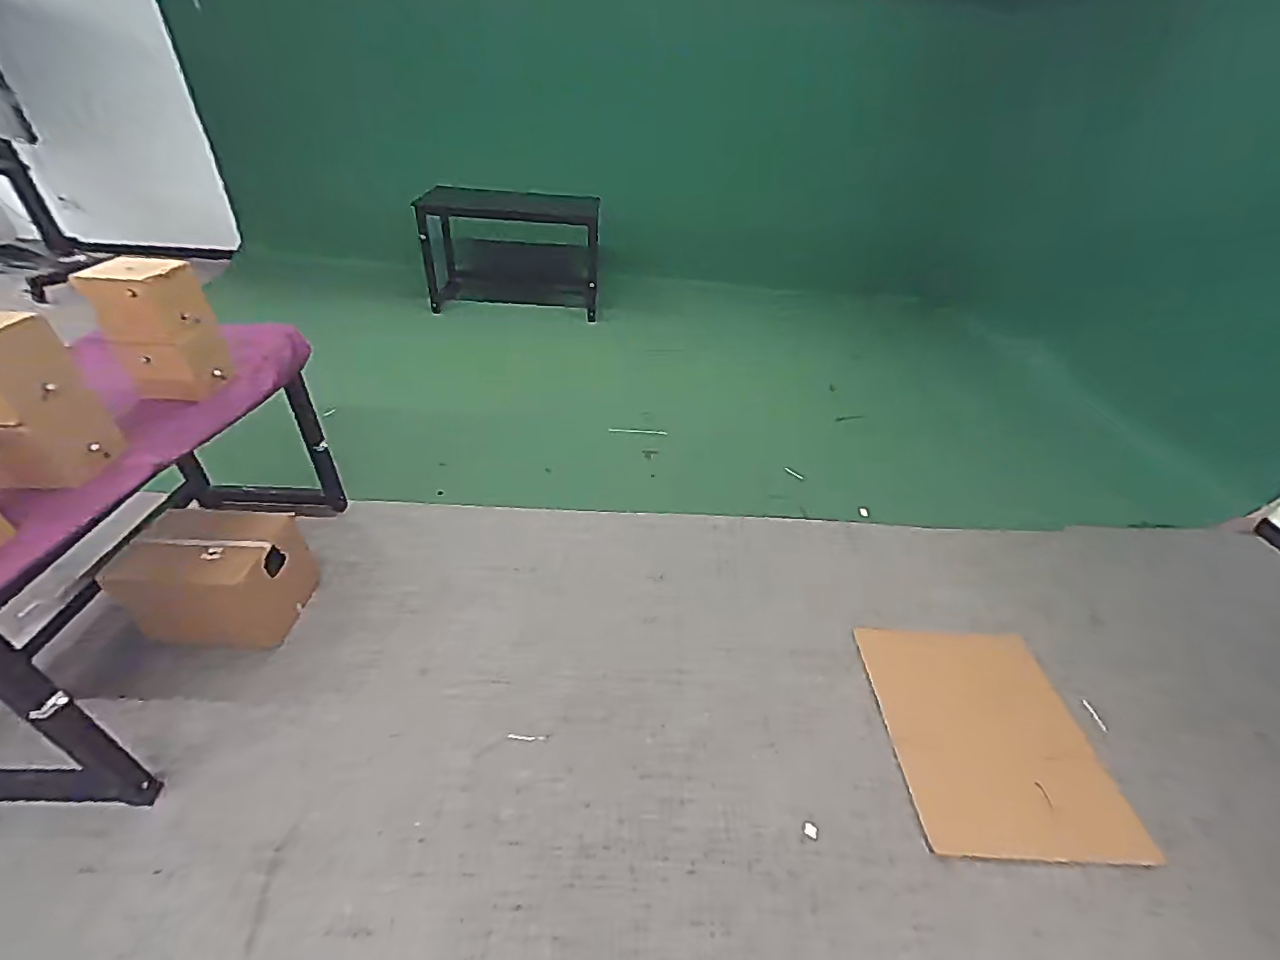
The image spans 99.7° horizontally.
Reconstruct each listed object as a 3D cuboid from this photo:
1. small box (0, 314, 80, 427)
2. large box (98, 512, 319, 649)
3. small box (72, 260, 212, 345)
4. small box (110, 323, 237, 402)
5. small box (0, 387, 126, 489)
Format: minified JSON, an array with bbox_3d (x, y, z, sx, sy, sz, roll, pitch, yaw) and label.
[{"bbox_3d":[-1.294,-0.222,1.078,0.168,0.176,0.179,0,37,-3],"label":"small box"},{"bbox_3d":[-1.339,0.321,1.730,0.408,0.320,0.320,3,38,-3],"label":"large box"},{"bbox_3d":[-1.270,-0.458,1.397,0.179,0.176,0.168,3,37,-3],"label":"small box"},{"bbox_3d":[-1.275,-0.328,1.494,0.179,0.176,0.168,3,37,-2],"label":"small box"},{"bbox_3d":[-1.304,-0.092,1.178,0.179,0.176,0.168,1,38,-3],"label":"small box"}]
